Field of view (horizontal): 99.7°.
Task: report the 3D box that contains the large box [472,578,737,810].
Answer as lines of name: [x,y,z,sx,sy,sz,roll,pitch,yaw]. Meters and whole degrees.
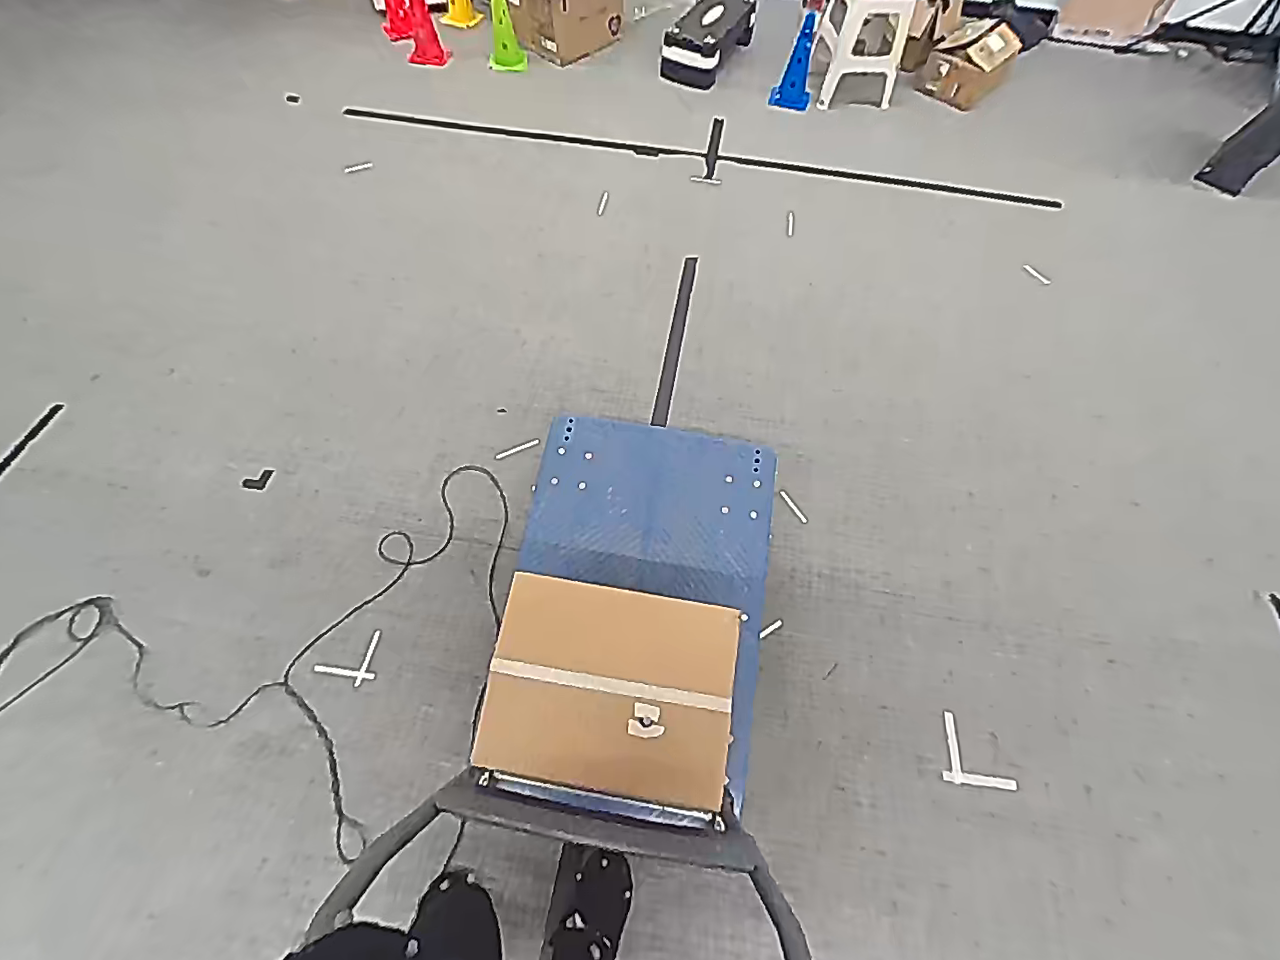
large box: [-0.055,0.391,1.033,0.408,0.320,0.320,10,72,1]
